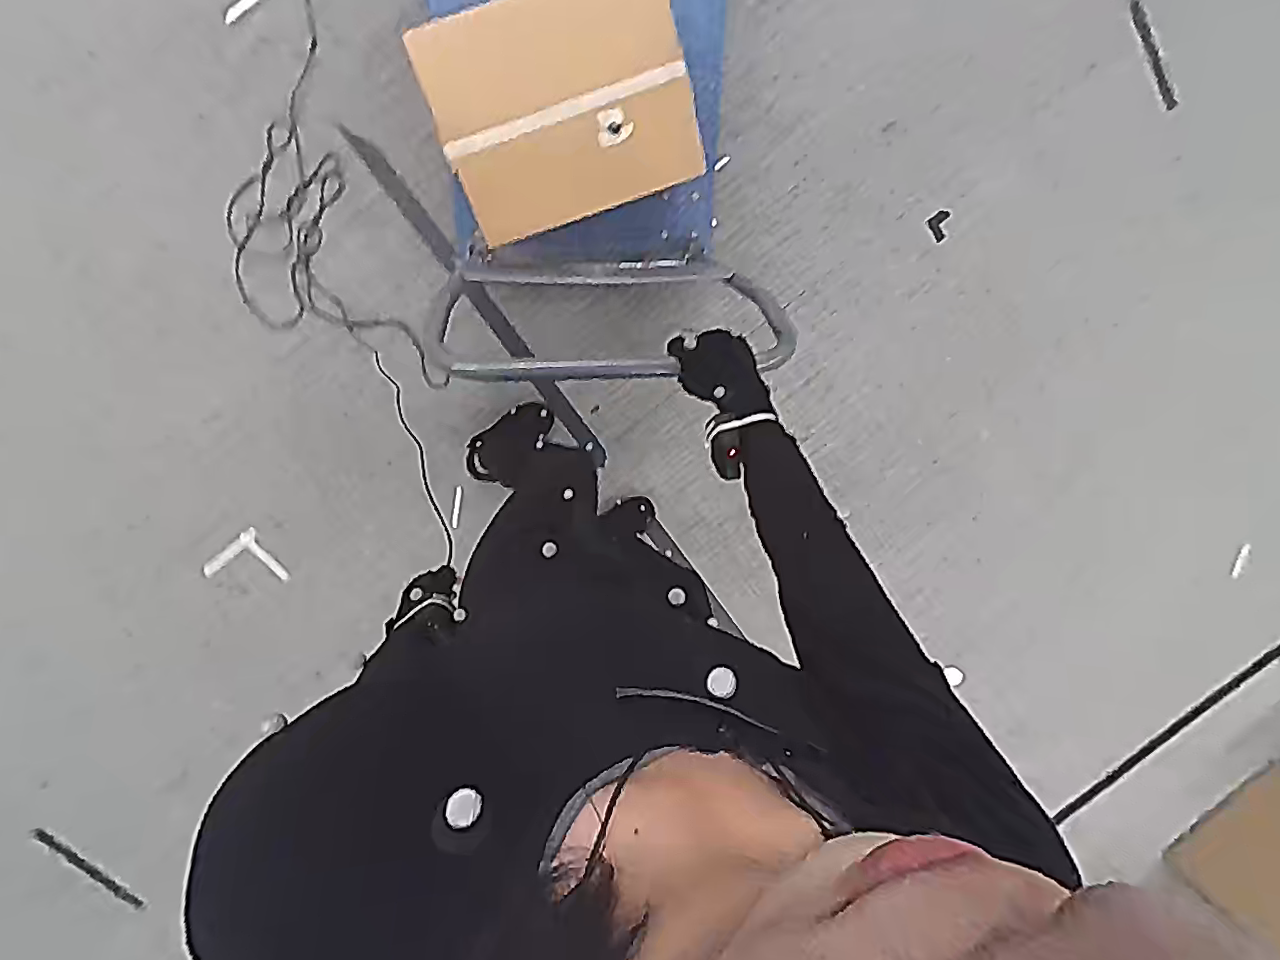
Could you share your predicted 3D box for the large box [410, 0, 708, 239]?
[{"bbox_3d":[-0.136,-0.677,0.999,0.408,0.320,0.320,-20,119,1],"label":"large box"}]
